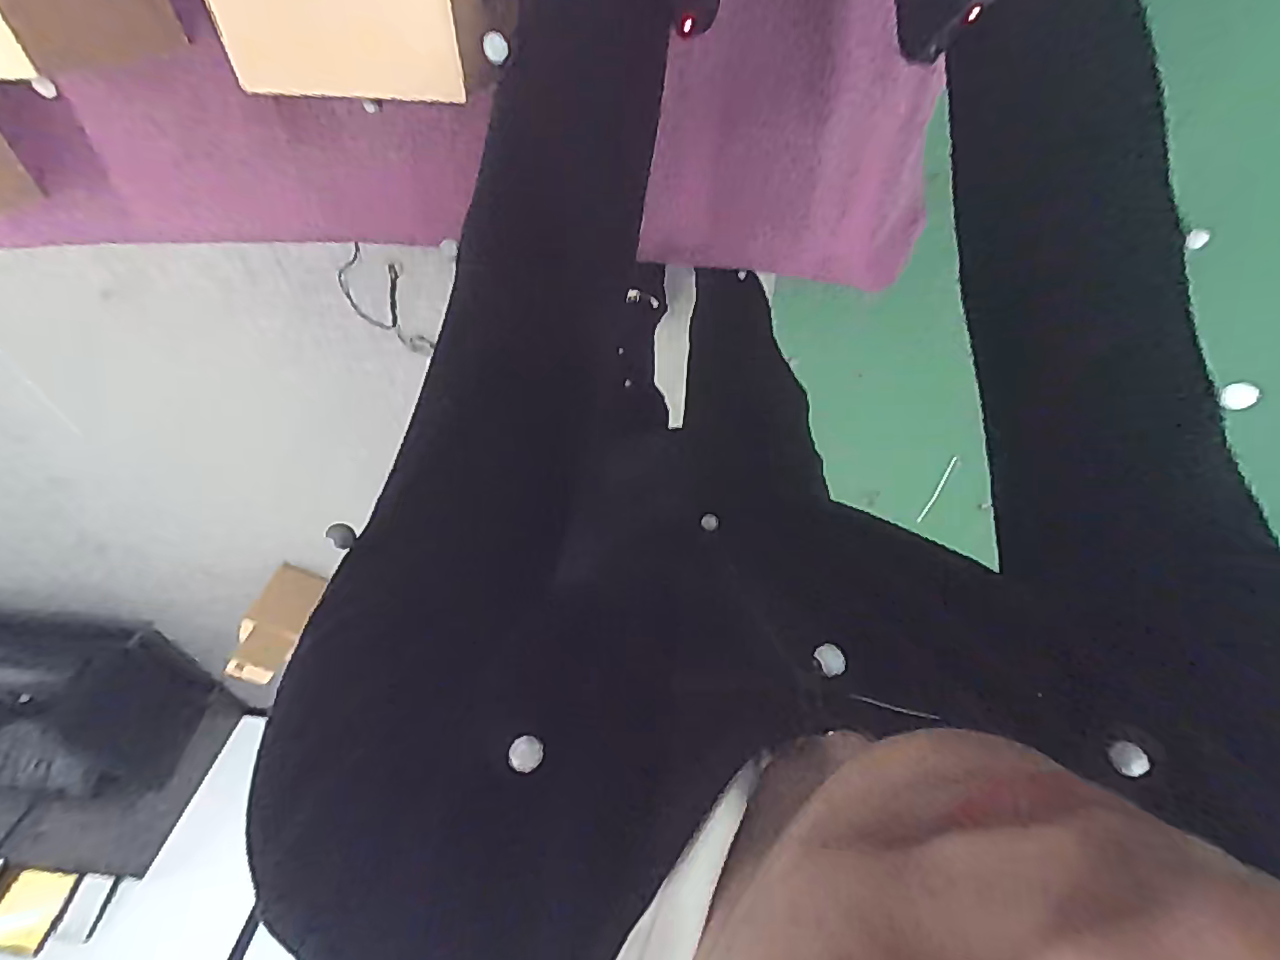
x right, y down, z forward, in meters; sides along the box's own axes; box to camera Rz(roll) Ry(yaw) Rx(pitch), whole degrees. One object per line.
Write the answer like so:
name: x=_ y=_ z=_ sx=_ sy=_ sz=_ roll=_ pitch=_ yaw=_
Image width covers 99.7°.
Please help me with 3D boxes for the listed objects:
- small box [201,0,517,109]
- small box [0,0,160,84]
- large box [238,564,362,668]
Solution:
small box: x=-0.197 y=-0.388 z=0.389 sx=0.179 sy=0.176 sz=0.168 roll=6 pitch=136 yaw=4
small box: x=-0.525 y=-0.417 z=0.406 sx=0.179 sy=0.176 sz=0.168 roll=5 pitch=135 yaw=4
large box: x=-1.647 y=0.663 z=2.629 sx=0.408 sy=0.320 sz=0.320 roll=27 pitch=134 yaw=-19
